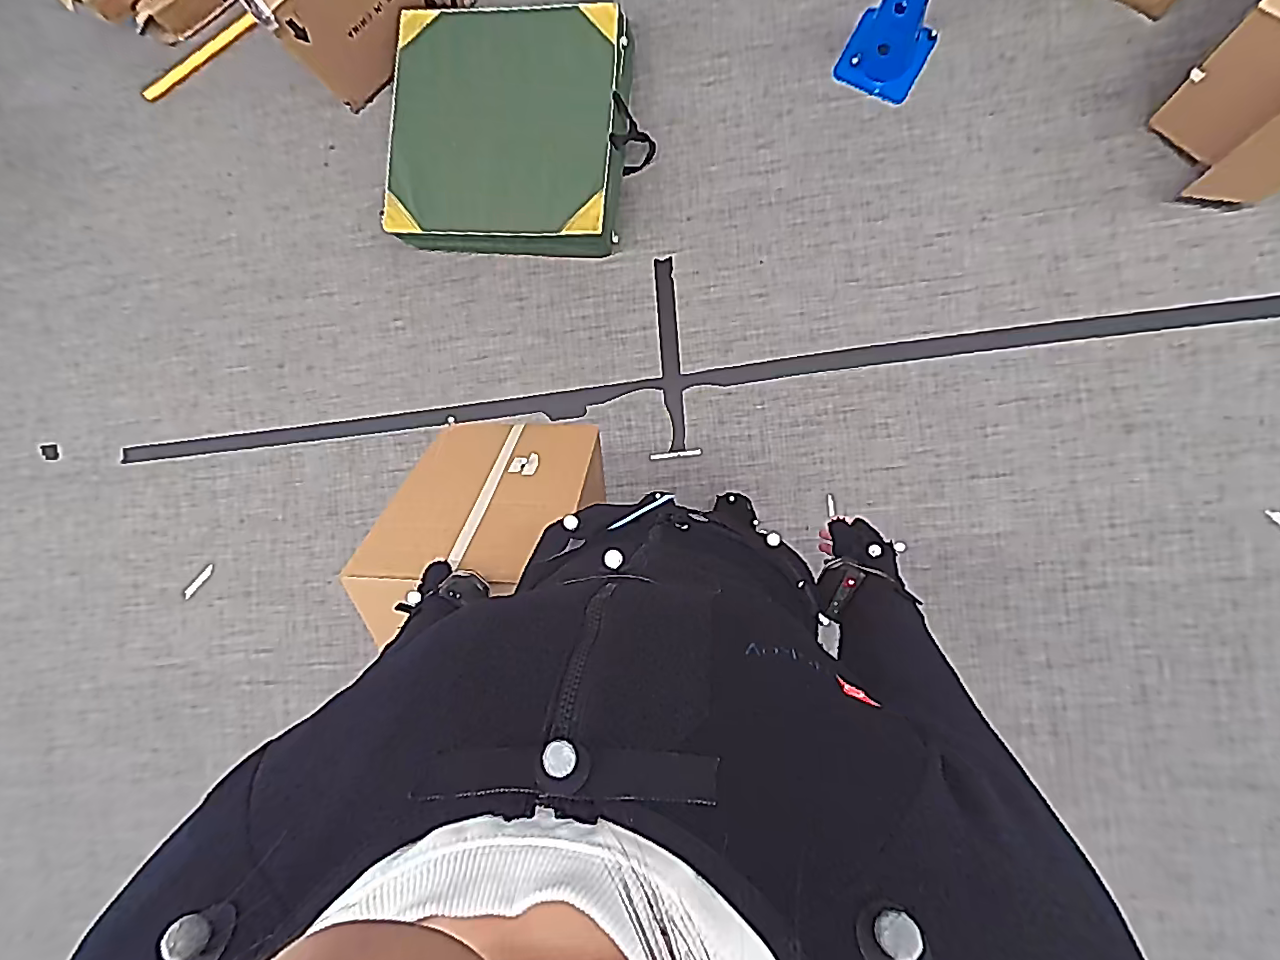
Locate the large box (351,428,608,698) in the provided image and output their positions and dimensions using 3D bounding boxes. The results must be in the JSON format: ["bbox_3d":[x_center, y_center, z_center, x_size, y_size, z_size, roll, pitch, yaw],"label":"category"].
[{"bbox_3d":[-0.248,0.142,1.012,0.320,0.408,0.320,2,128,6],"label":"large box"}]
